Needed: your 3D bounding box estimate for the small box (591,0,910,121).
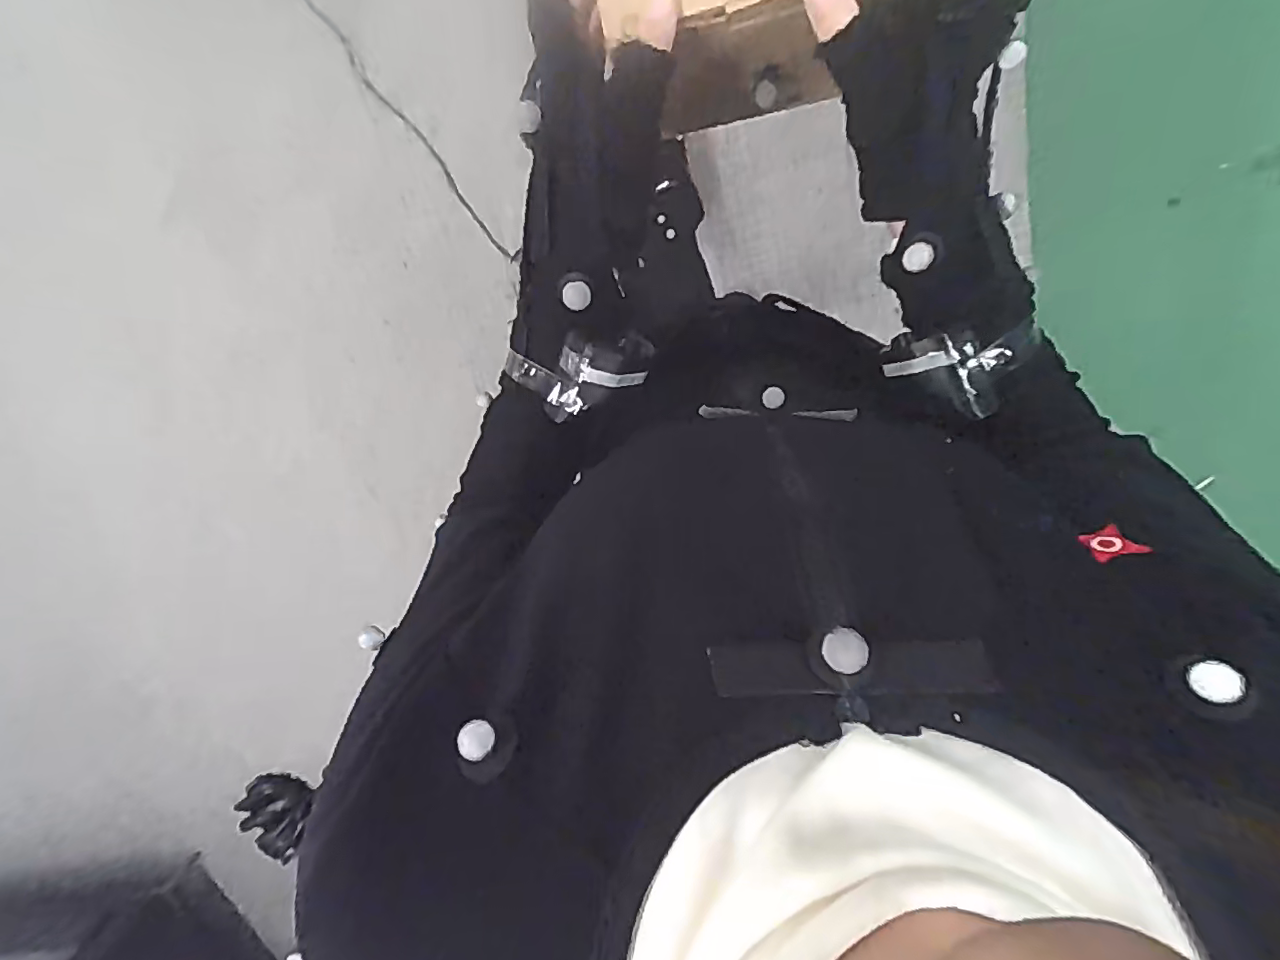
[{"bbox_3d":[0.060,-0.327,0.299,0.168,0.176,0.179,-6,107,13],"label":"small box"}]
